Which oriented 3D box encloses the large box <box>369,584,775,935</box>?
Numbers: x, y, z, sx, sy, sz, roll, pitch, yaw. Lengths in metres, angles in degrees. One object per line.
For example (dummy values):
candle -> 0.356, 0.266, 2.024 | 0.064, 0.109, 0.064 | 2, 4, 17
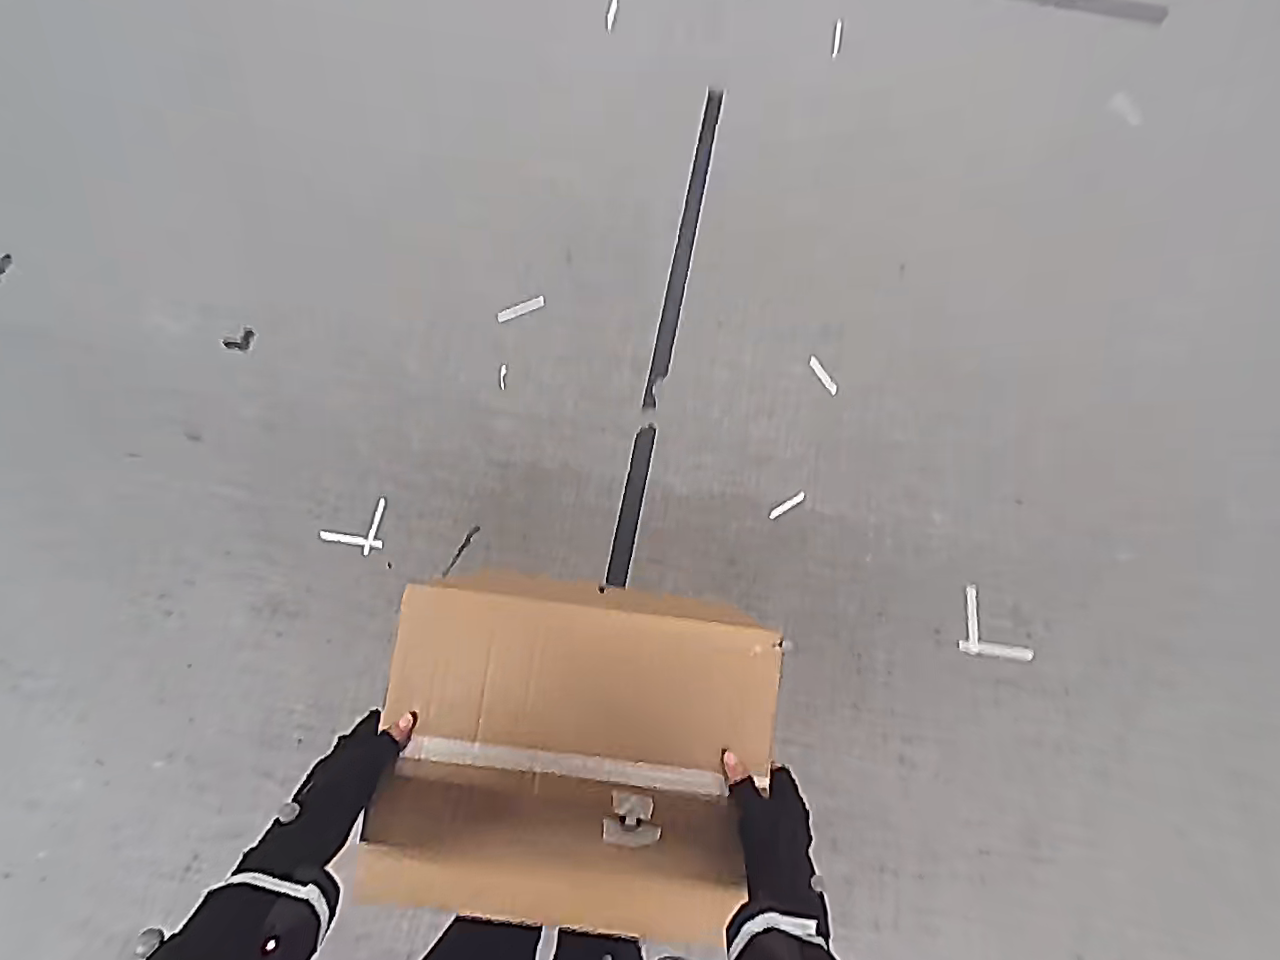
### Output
large box -> -0.070, 0.317, 0.718 | 0.408, 0.320, 0.320 | 7, 83, -1
